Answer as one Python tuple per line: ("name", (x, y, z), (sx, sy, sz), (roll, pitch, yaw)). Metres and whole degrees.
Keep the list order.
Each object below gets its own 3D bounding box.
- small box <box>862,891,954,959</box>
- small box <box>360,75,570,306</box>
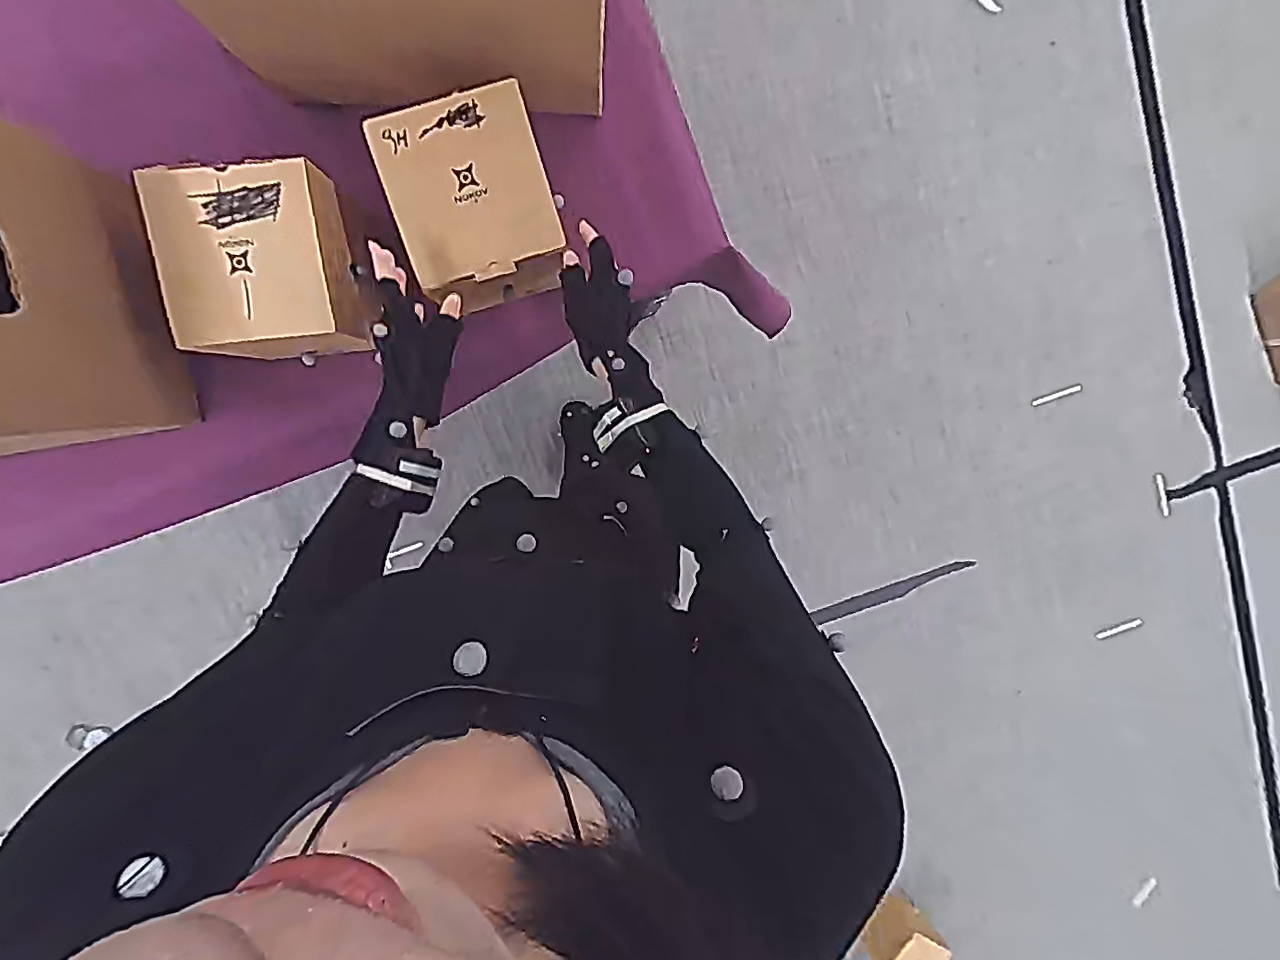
("small box", (0.842, 1.480, 1.725), (0.168, 0.176, 0.179), (34, 93, -10))
("small box", (-0.184, -0.315, 0.633), (0.168, 0.176, 0.179), (-18, 99, -3))
